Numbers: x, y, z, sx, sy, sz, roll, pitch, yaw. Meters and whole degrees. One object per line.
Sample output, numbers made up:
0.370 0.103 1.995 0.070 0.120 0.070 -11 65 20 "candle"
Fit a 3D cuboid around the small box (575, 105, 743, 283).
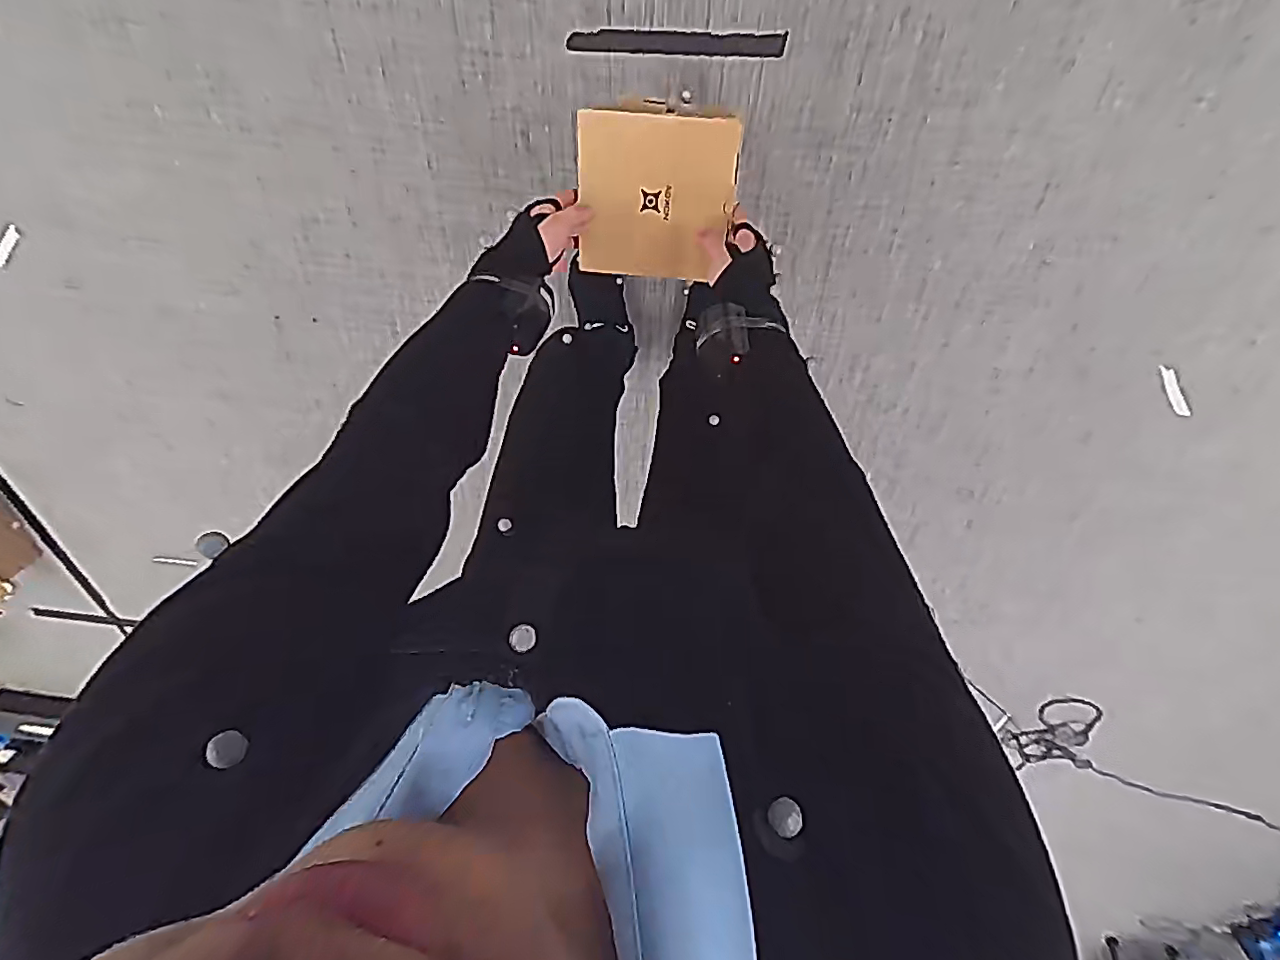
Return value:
0.023 -0.356 0.665 0.179 0.176 0.168 6 126 3 "small box"
